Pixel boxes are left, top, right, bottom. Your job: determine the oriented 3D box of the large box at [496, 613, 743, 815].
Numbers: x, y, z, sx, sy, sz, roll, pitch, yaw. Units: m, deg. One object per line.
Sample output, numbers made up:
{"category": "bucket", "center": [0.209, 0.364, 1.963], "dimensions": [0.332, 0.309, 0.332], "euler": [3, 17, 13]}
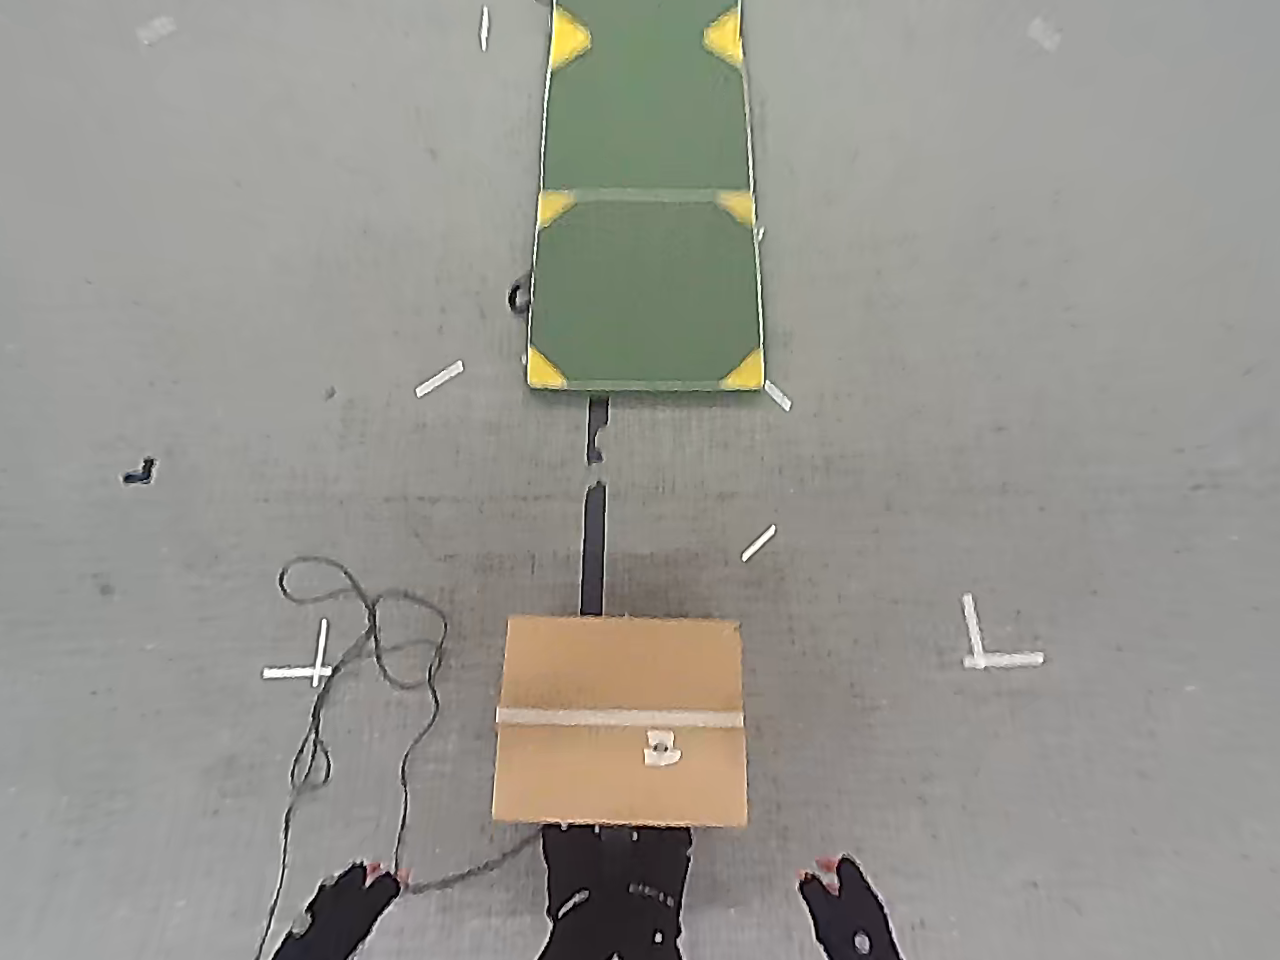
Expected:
{"category": "large box", "center": [-0.035, 0.431, 1.046], "dimensions": [0.408, 0.320, 0.320], "euler": [1, 73, 0]}
